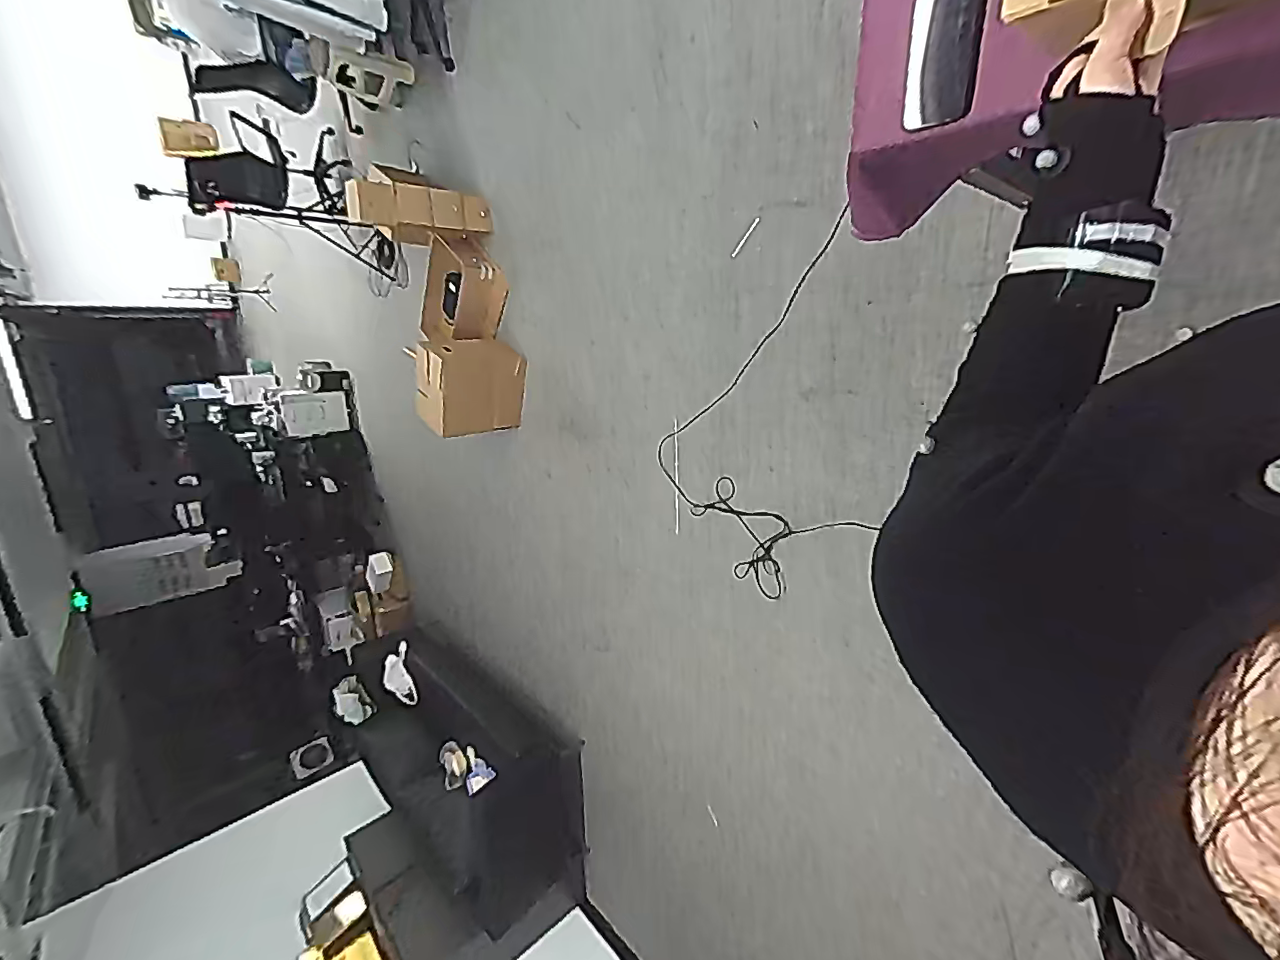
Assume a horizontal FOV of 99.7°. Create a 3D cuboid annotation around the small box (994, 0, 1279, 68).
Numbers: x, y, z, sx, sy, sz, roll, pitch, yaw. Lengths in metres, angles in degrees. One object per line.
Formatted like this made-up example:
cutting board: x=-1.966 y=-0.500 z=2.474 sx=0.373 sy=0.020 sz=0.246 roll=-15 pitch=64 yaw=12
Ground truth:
small box: x=0.389 y=-0.439 z=0.391 sx=0.168 sy=0.176 sz=0.179 roll=18 pitch=120 yaw=46
